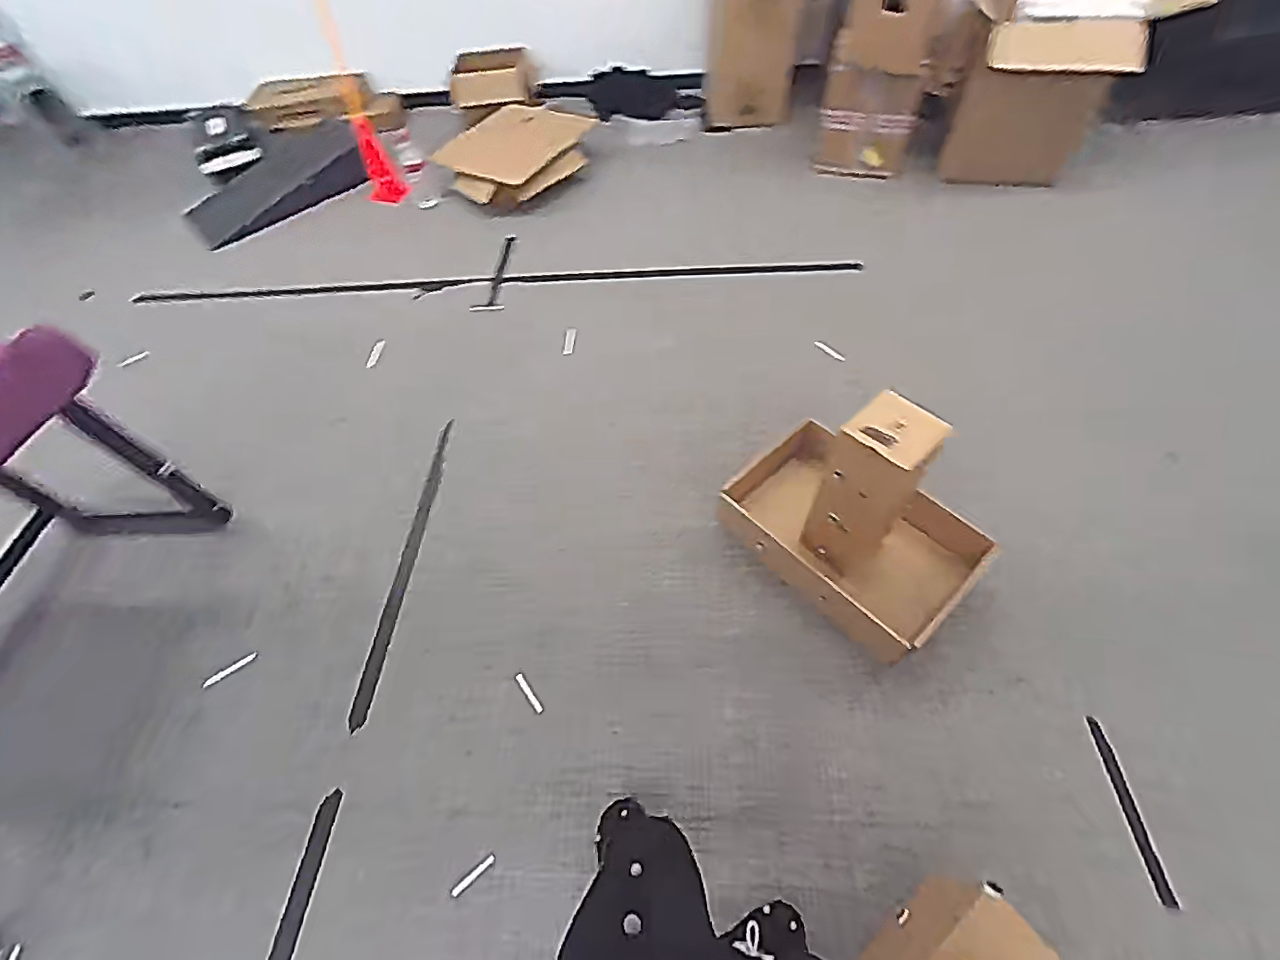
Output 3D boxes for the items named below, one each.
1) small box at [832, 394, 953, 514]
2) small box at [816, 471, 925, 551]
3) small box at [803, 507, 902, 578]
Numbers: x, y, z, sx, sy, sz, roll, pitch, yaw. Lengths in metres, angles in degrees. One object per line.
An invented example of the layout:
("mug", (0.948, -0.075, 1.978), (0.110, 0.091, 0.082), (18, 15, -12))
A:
("small box", (0.560, -0.055, 1.228), (0.179, 0.176, 0.168), (-35, 59, -21))
("small box", (0.568, 0.043, 1.360), (0.179, 0.176, 0.168), (-36, 59, -18))
("small box", (0.576, 0.136, 1.492), (0.179, 0.176, 0.168), (-34, 59, -18))
